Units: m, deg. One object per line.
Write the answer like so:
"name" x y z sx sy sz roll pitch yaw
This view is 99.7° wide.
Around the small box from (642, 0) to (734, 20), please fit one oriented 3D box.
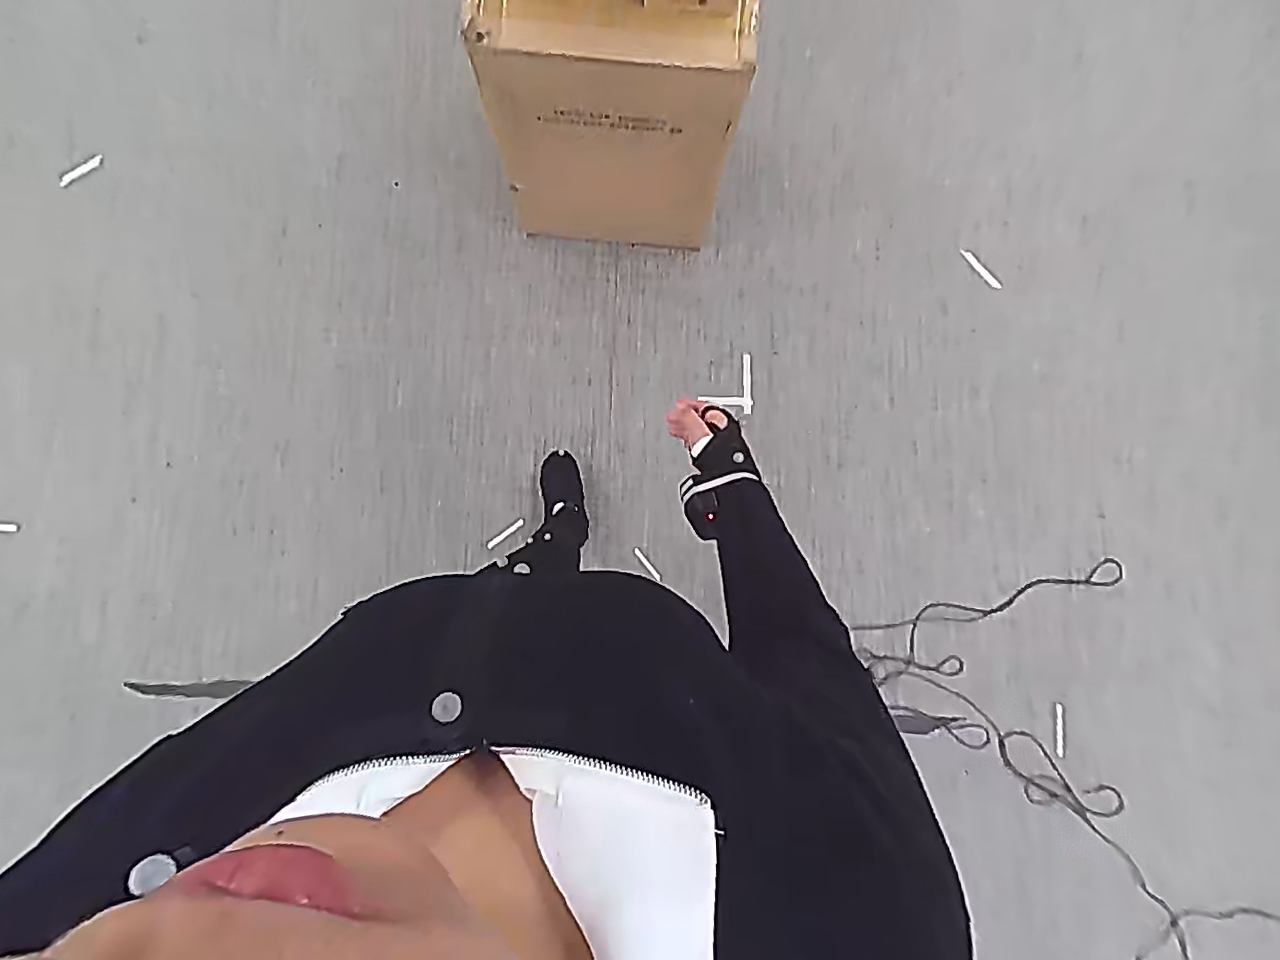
"small box" 0.089 -0.925 0.897 0.168 0.176 0.179 4 85 0
